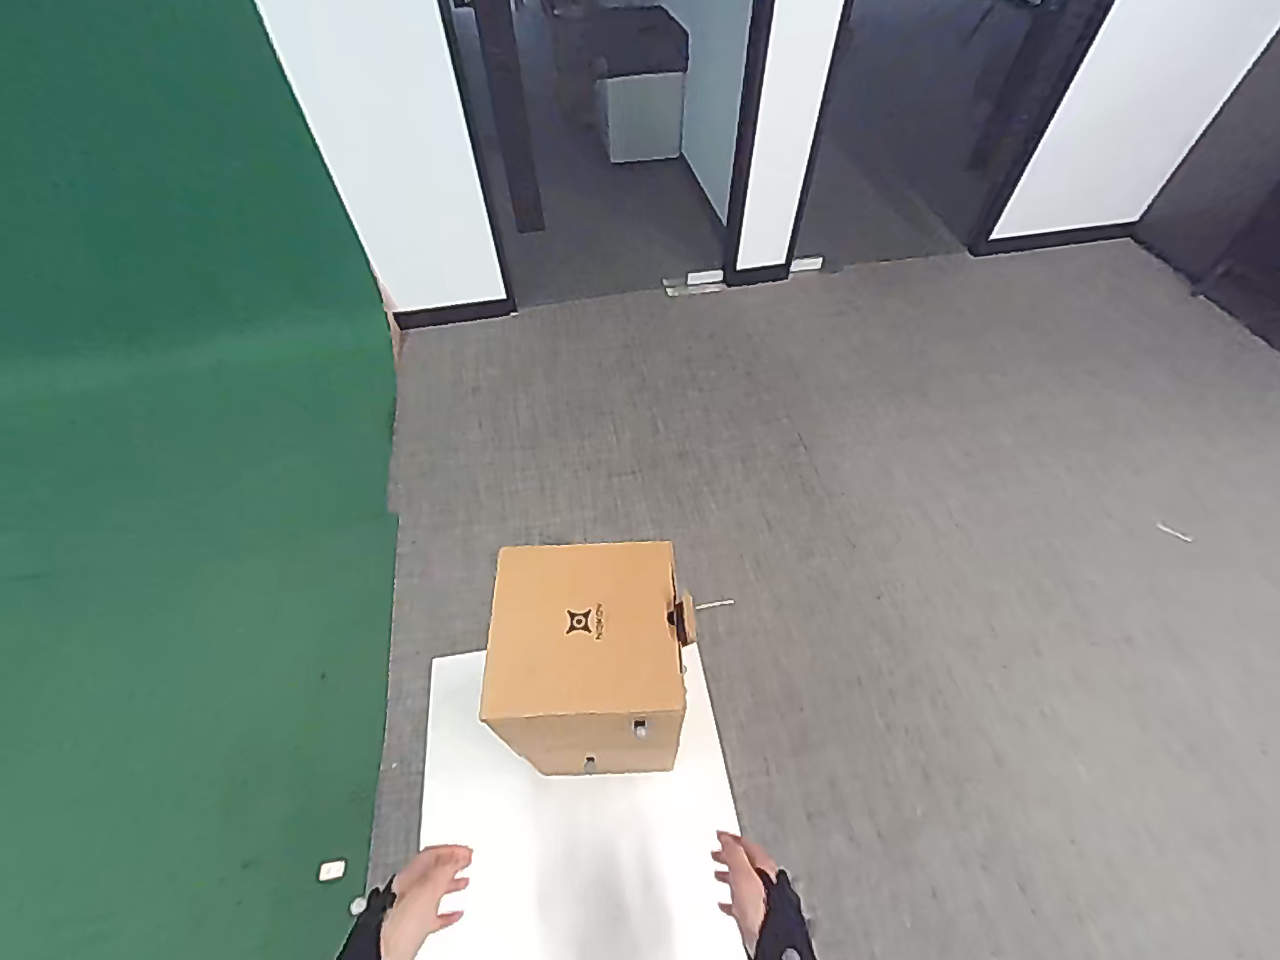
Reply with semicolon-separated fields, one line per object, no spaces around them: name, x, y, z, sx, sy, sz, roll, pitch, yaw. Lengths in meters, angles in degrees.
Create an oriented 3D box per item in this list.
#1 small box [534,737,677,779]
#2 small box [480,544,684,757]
small box;-0.046;0.279;0.696;0.179;0.176;0.168;-2;53;-1
small box;-0.050;0.182;0.564;0.179;0.176;0.168;-2;53;-2
